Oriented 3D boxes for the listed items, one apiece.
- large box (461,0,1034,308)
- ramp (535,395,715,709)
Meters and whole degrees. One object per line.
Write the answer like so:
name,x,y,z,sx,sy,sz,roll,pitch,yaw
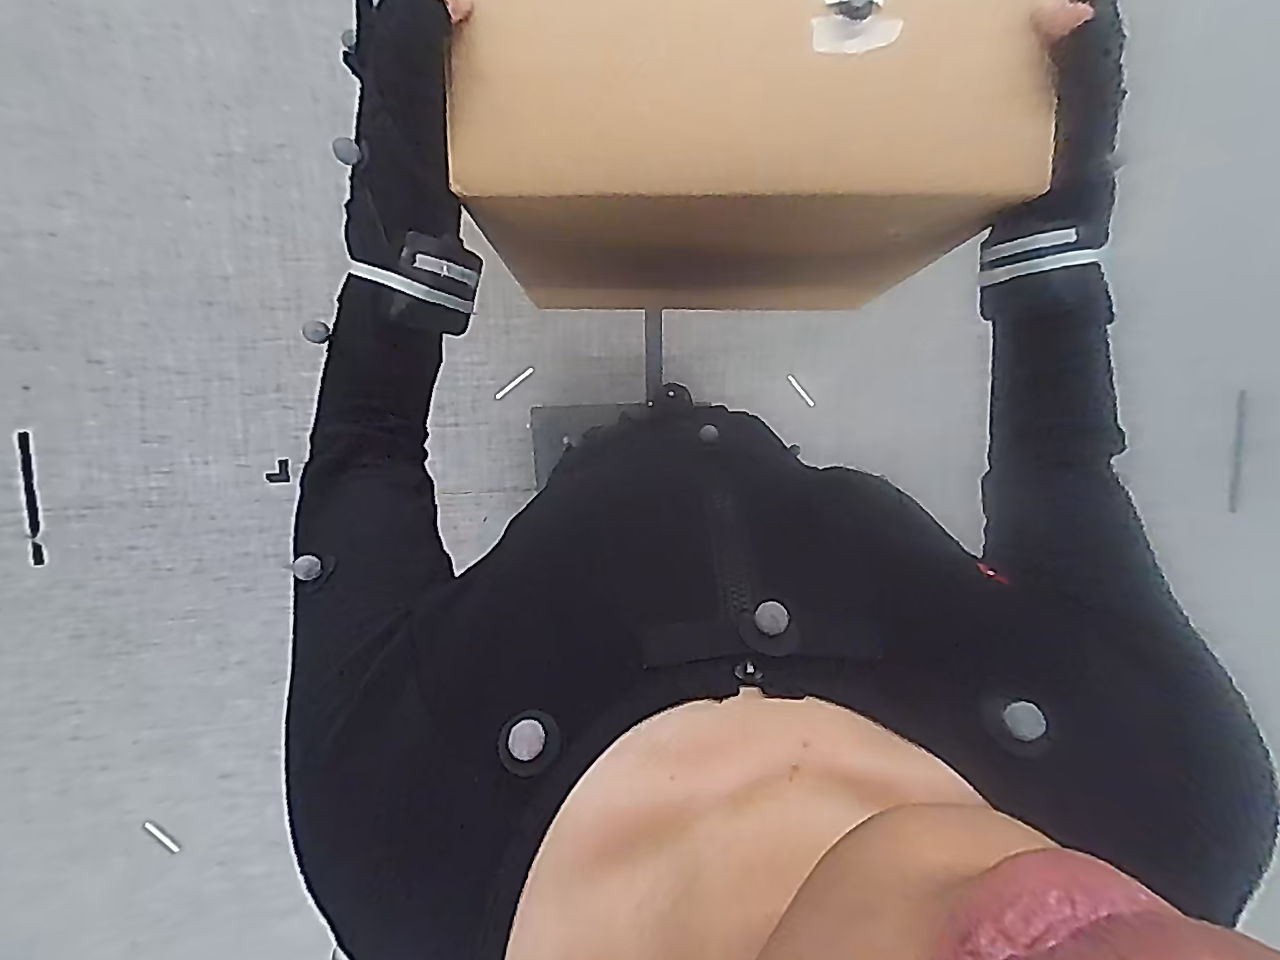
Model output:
large box,0.071,-0.364,0.521,0.408,0.320,0.320,-1,94,-1
ramp,-0.023,0.252,1.603,0.509,0.206,0.991,-4,98,-2
